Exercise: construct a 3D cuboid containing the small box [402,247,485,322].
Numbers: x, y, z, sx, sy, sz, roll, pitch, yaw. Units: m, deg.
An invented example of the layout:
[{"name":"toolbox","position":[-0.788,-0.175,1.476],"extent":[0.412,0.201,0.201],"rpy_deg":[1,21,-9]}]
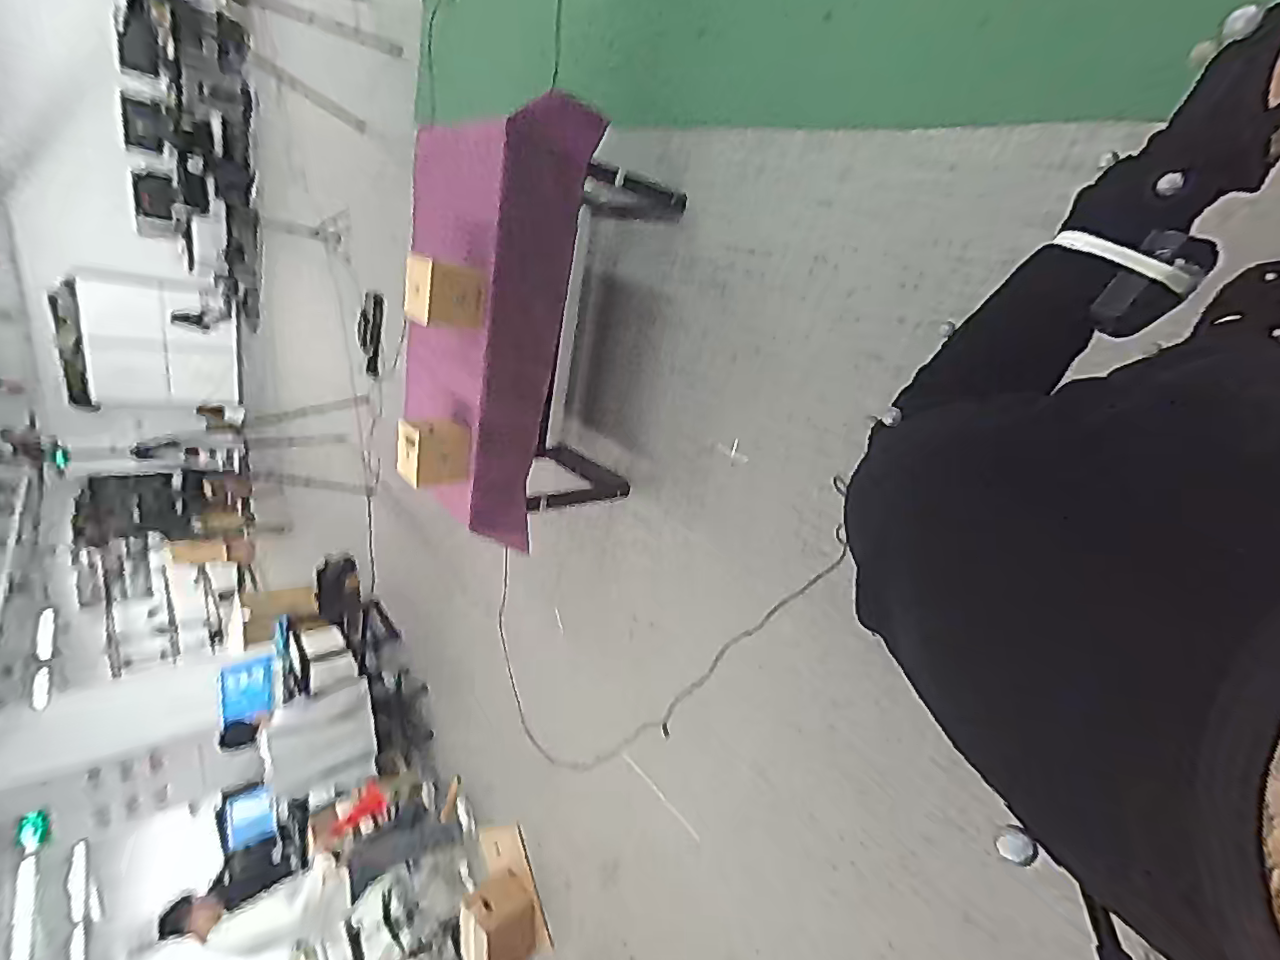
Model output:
[{"name":"small box","position":[-0.571,-0.565,1.573],"extent":[0.179,0.176,0.168],"rpy_deg":[32,117,39]}]
